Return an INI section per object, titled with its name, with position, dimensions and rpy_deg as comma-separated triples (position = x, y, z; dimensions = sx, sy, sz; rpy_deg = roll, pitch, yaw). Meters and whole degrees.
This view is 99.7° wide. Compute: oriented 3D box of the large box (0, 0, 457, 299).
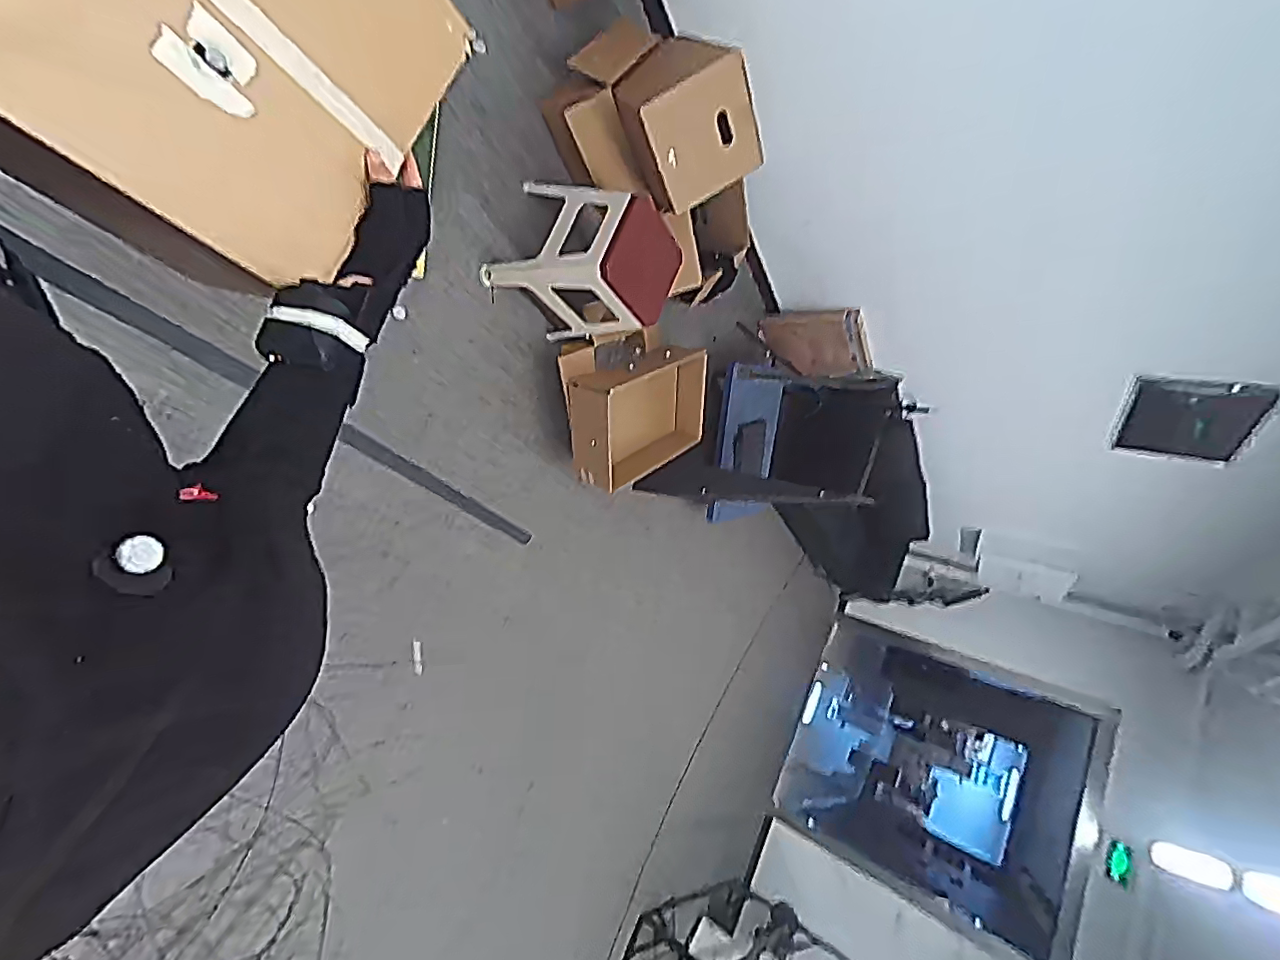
[large box]
position = -0.449, -0.404, 0.430
dimensions = 0.408, 0.320, 0.320
rpy_deg = 37, 77, -55
